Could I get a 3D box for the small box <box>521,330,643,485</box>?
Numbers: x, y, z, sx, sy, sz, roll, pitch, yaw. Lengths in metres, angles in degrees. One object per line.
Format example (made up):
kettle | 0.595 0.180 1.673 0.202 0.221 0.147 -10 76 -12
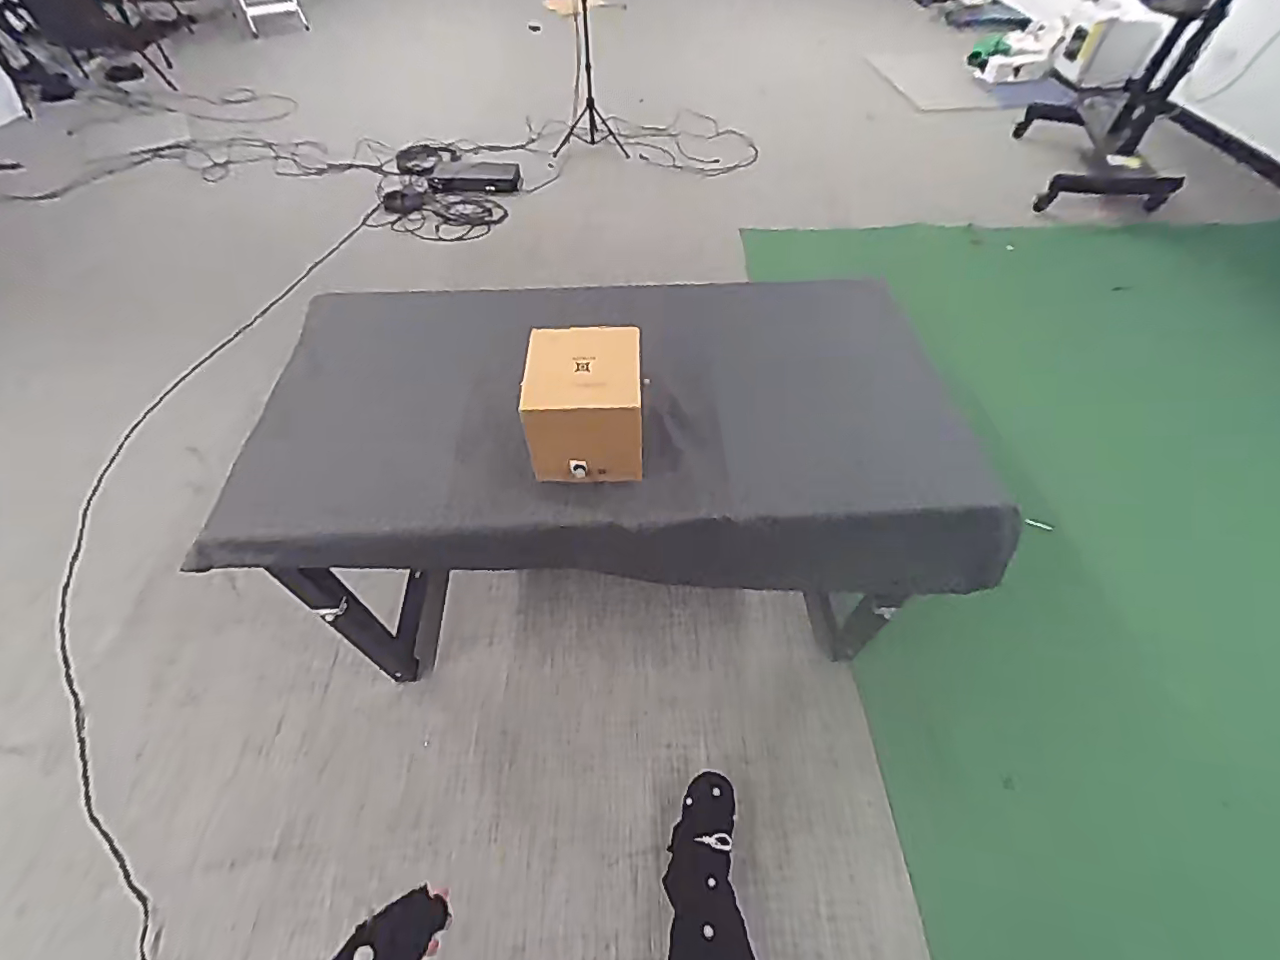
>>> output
small box | -0.081 -0.111 0.843 0.168 0.176 0.179 -2 53 0
